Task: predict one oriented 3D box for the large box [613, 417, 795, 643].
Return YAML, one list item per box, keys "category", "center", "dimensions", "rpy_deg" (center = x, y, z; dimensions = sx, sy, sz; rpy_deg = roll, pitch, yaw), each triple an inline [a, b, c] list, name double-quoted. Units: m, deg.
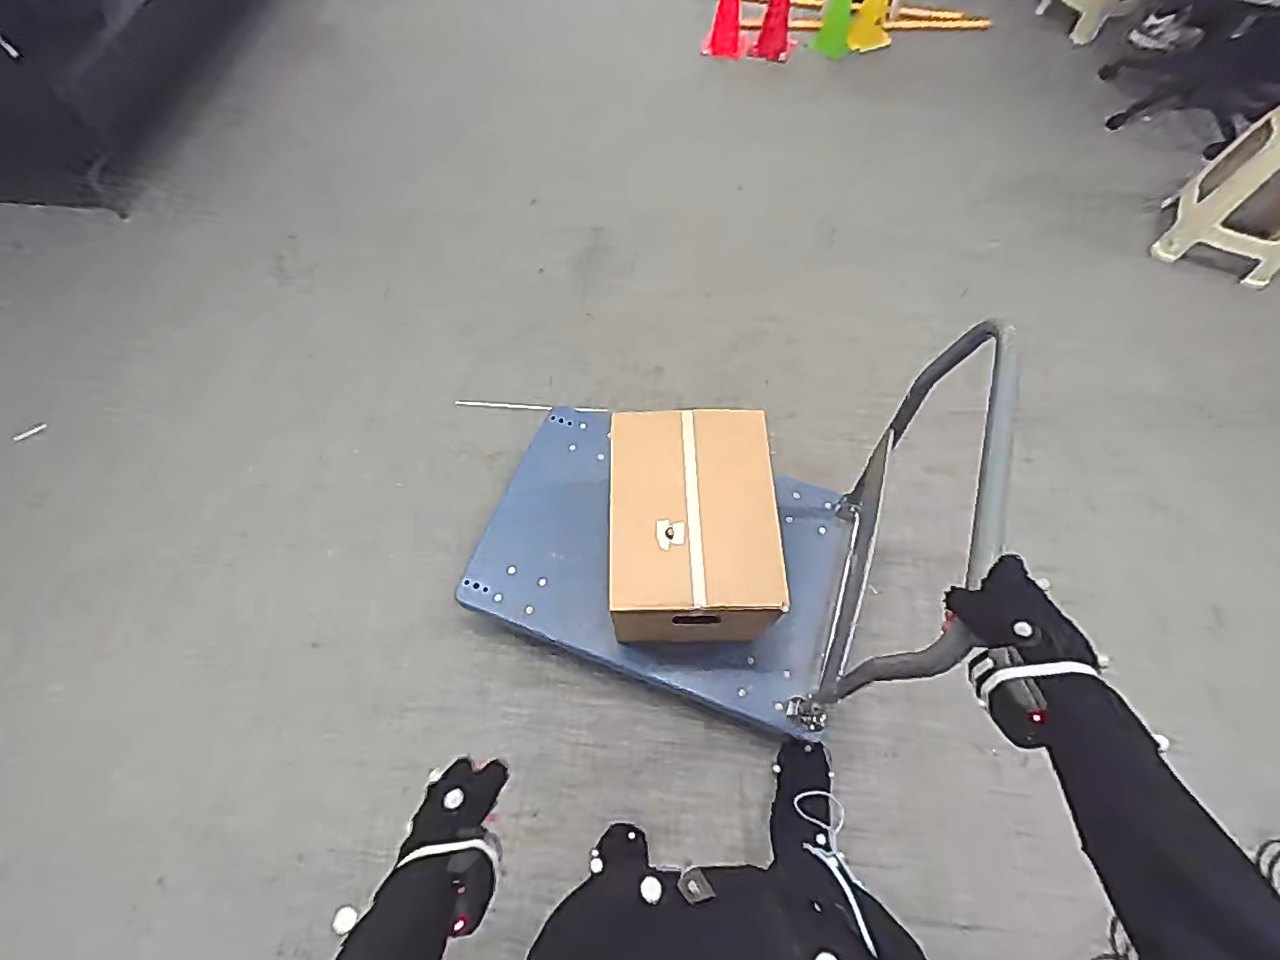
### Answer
- category: "large box"
  center: [0.109, 0.116, 1.157]
  dimensions: [0.320, 0.320, 0.408]
  rpy_deg: [-2, 64, 0]
